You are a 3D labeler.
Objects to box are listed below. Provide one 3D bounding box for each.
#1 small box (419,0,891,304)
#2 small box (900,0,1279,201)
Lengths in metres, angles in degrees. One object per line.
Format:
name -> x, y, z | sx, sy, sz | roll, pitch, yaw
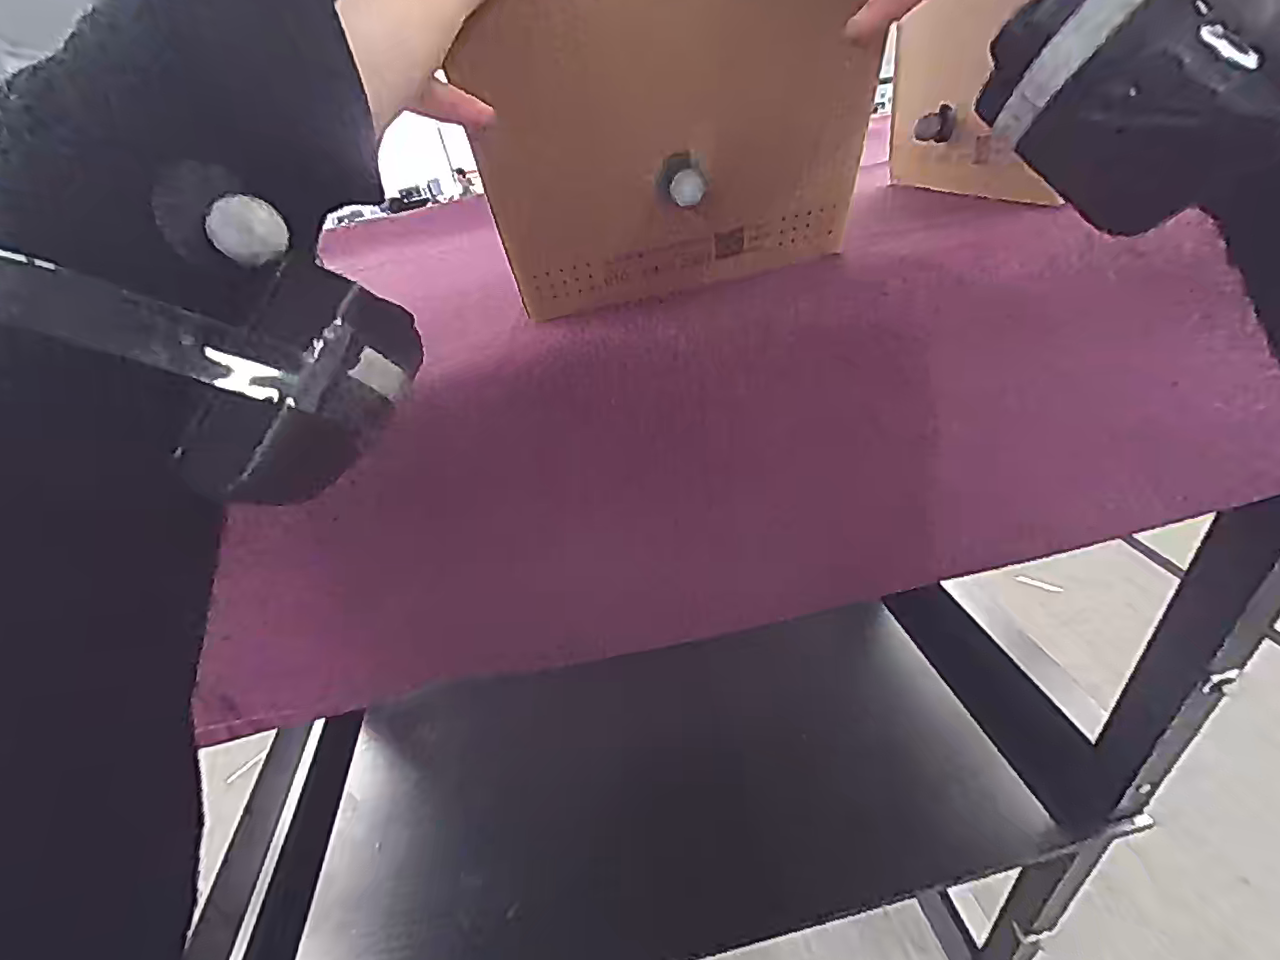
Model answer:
small box -> -0.005, -0.211, 0.245 | 0.168, 0.176, 0.179 | -14, 55, -2
small box -> 0.264, -0.265, 0.288 | 0.179, 0.176, 0.168 | -14, 33, 0
